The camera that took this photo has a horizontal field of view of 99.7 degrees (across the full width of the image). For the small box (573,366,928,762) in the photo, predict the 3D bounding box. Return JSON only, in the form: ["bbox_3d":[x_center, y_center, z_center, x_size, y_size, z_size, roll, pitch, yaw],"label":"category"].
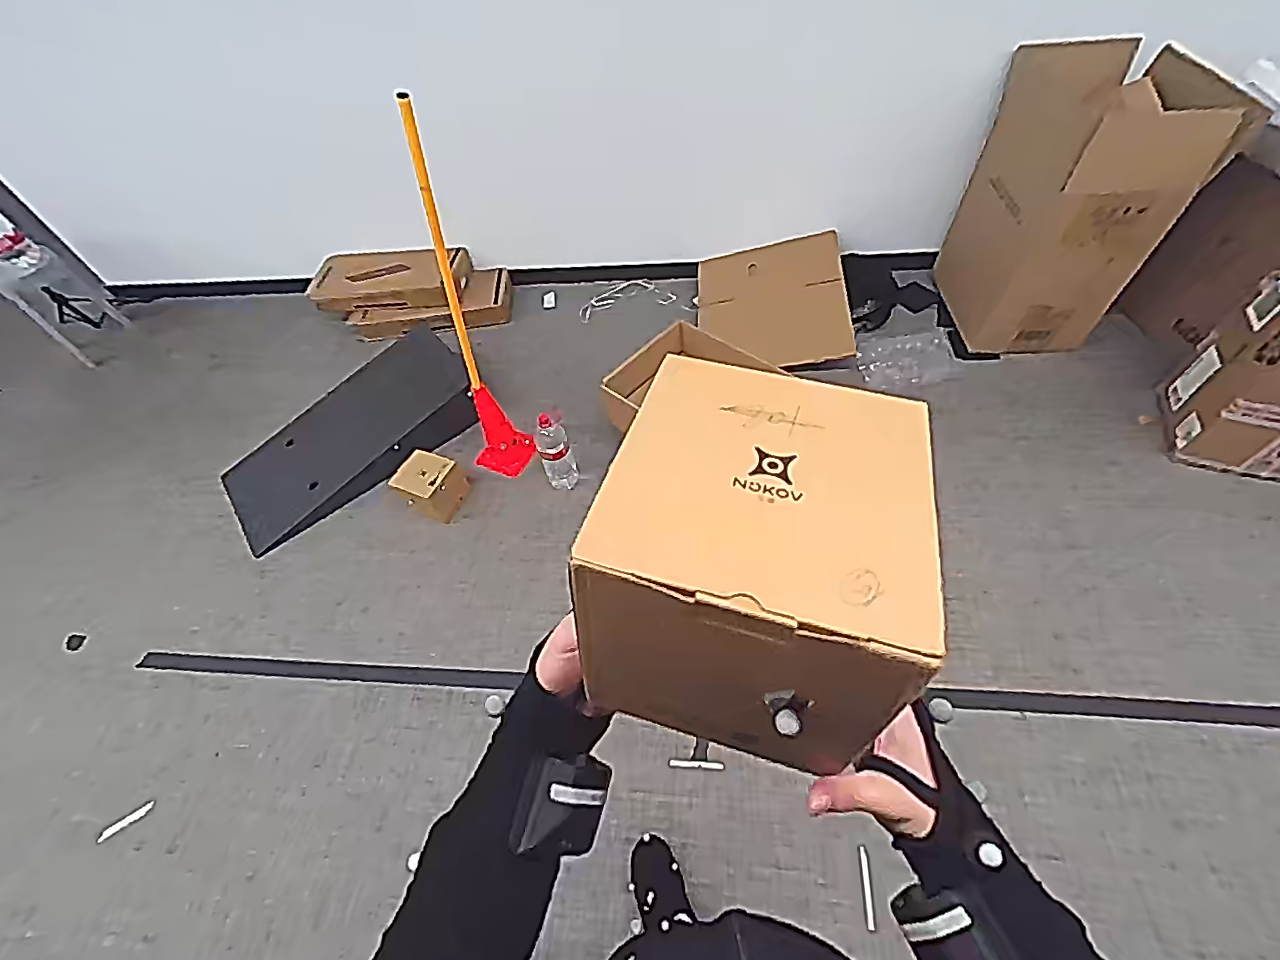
[{"bbox_3d":[0.068,0.055,0.357,0.168,0.176,0.179,14,47,10],"label":"small box"}]
